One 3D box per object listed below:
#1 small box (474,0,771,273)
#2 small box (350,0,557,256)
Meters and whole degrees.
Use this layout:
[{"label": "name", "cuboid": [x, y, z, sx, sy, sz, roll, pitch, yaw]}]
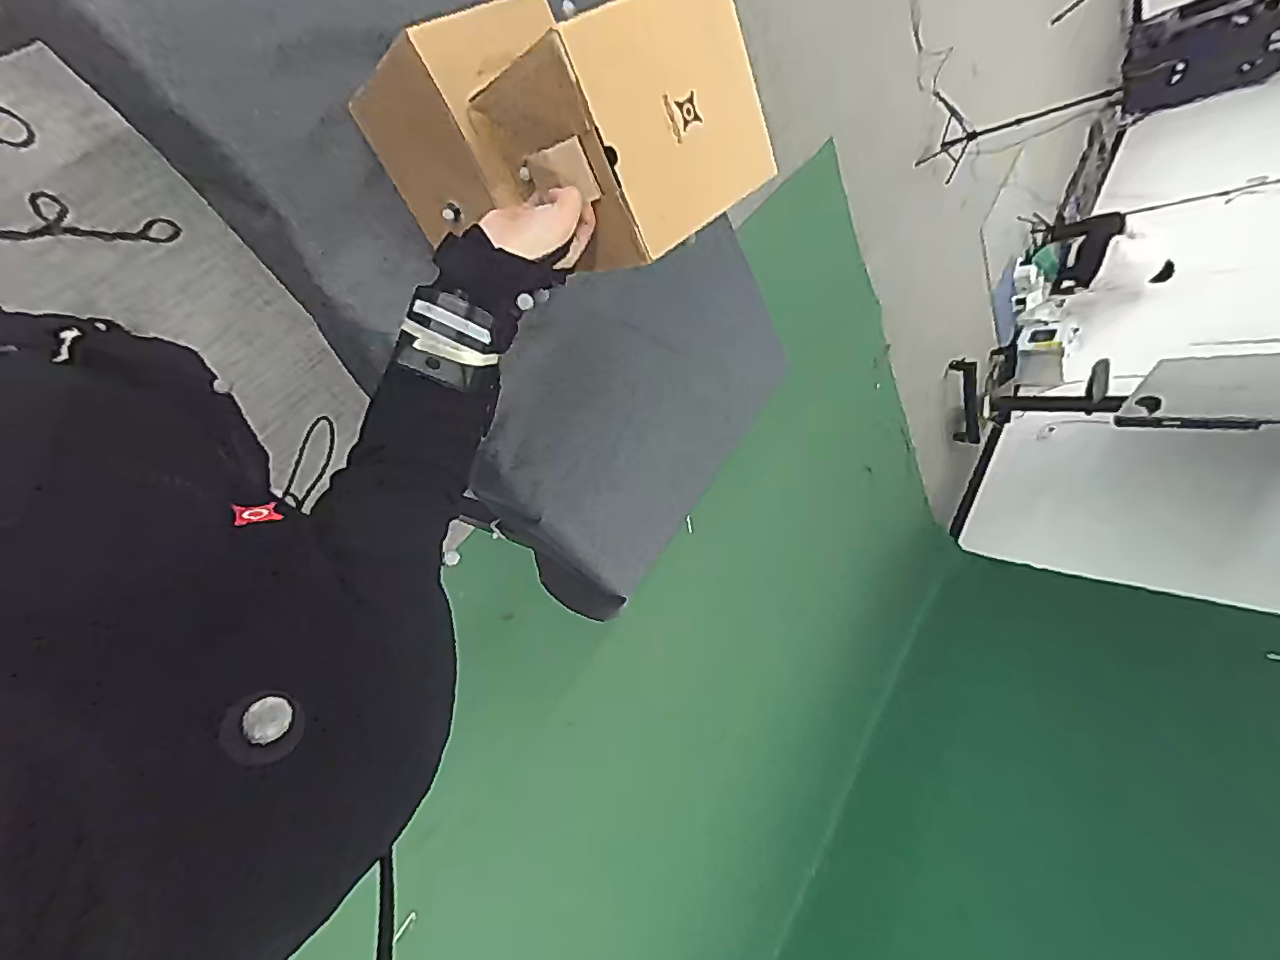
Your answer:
[{"label": "small box", "cuboid": [-0.016, -0.308, 0.492, 0.179, 0.176, 0.168, -43, 125, -21]}, {"label": "small box", "cuboid": [-0.167, -0.361, 0.581, 0.168, 0.176, 0.179, -47, 125, -29]}]
